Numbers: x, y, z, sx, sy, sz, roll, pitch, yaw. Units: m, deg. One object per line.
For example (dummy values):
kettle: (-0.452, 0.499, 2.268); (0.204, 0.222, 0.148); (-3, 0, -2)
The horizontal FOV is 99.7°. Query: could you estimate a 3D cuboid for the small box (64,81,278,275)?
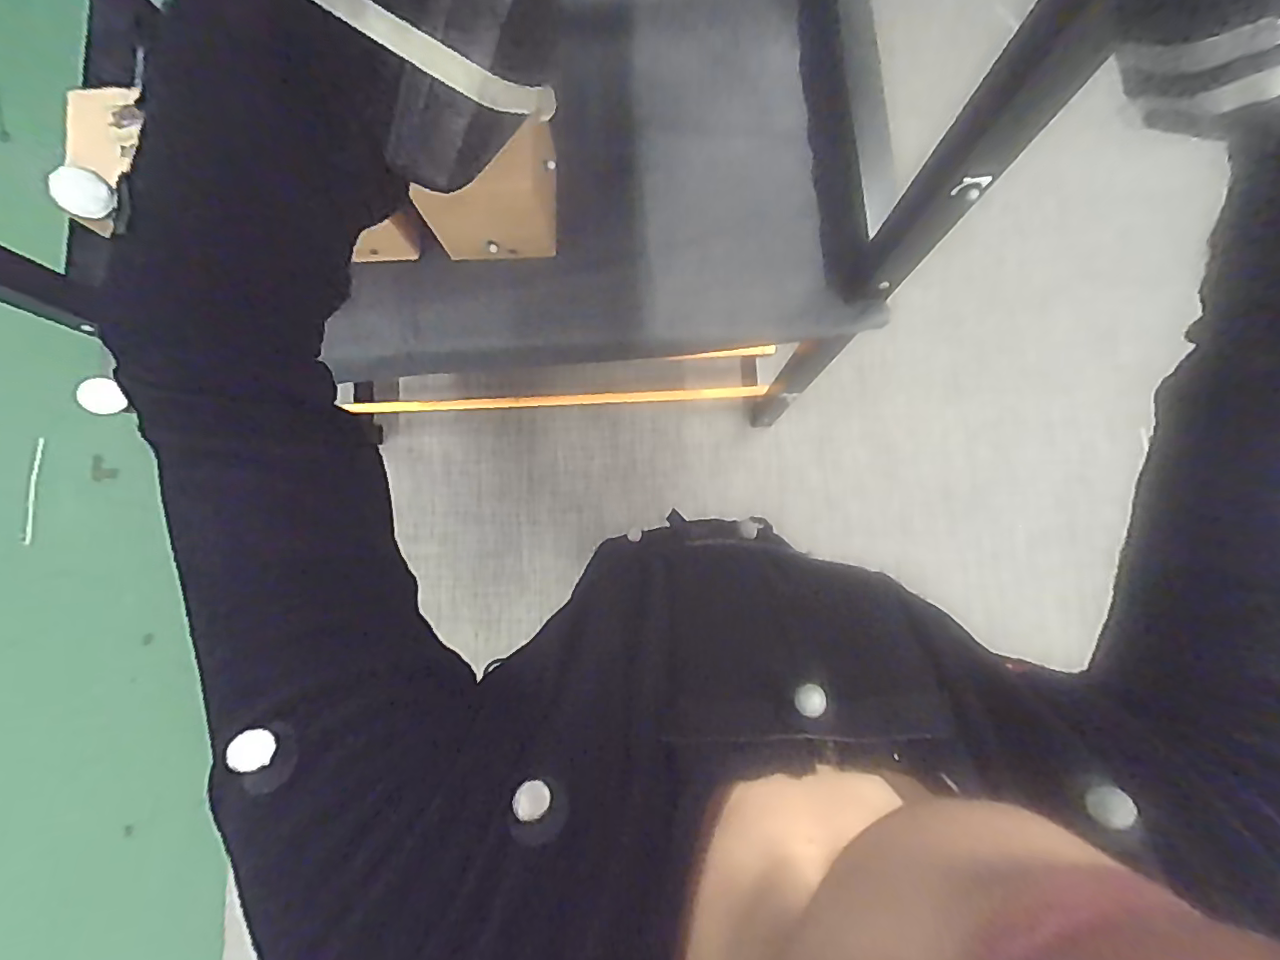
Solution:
small box: (-0.653, -0.422, 0.776); (0.168, 0.176, 0.179); (-5, 82, 1)
